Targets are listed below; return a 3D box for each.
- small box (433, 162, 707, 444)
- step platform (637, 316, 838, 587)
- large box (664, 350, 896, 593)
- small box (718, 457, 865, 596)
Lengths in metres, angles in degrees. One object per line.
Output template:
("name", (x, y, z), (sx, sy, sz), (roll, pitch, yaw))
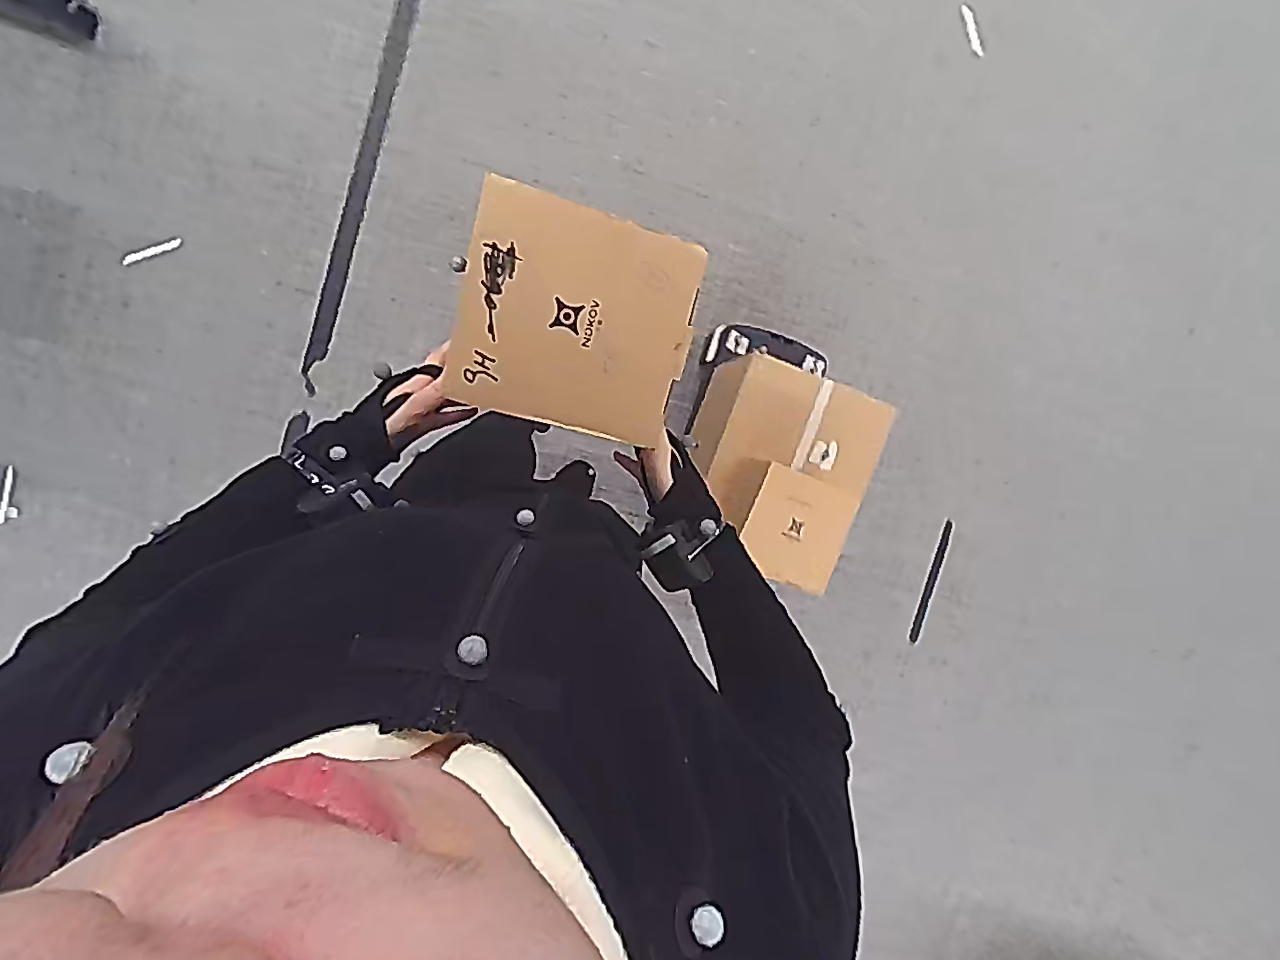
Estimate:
("small box", (-0.067, -0.138, 0.479), (0.179, 0.176, 0.168), (12, 97, -15))
("step platform", (0.246, -0.069, 1.417), (0.286, 0.204, 0.684), (22, 93, -8))
("large box", (0.275, -0.021, 1.185), (0.320, 0.320, 0.408), (20, 93, -9))
("small box", (0.249, 0.072, 0.944), (0.168, 0.176, 0.179), (23, 93, -7))
